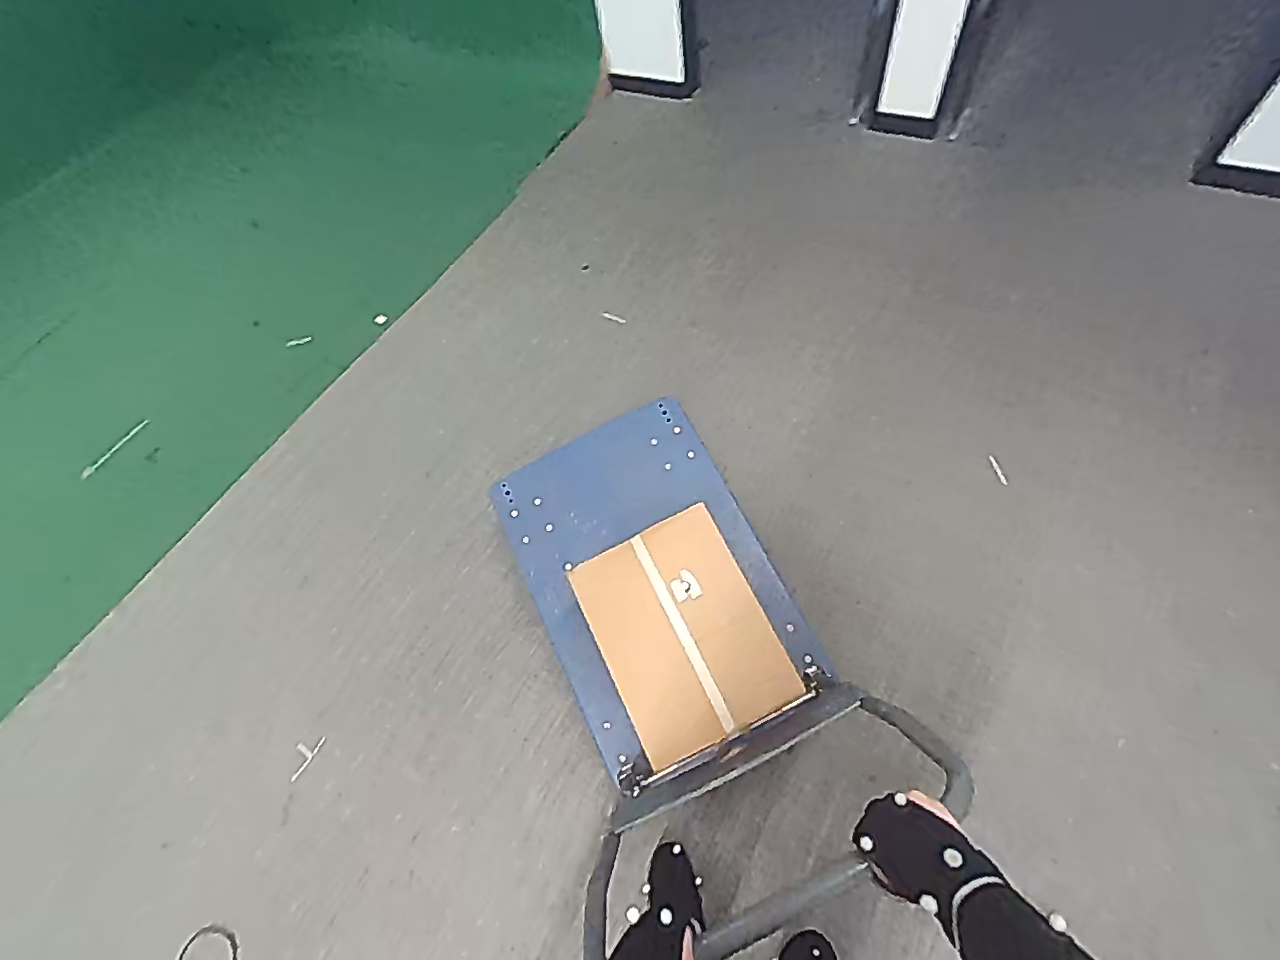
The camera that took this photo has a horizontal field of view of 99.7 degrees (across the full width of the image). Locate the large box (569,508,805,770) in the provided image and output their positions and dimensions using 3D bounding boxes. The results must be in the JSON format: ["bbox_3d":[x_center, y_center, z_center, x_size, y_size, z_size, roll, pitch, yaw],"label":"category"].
[{"bbox_3d":[0.098,0.332,1.174,0.320,0.320,0.408,-27,71,-2],"label":"large box"}]
